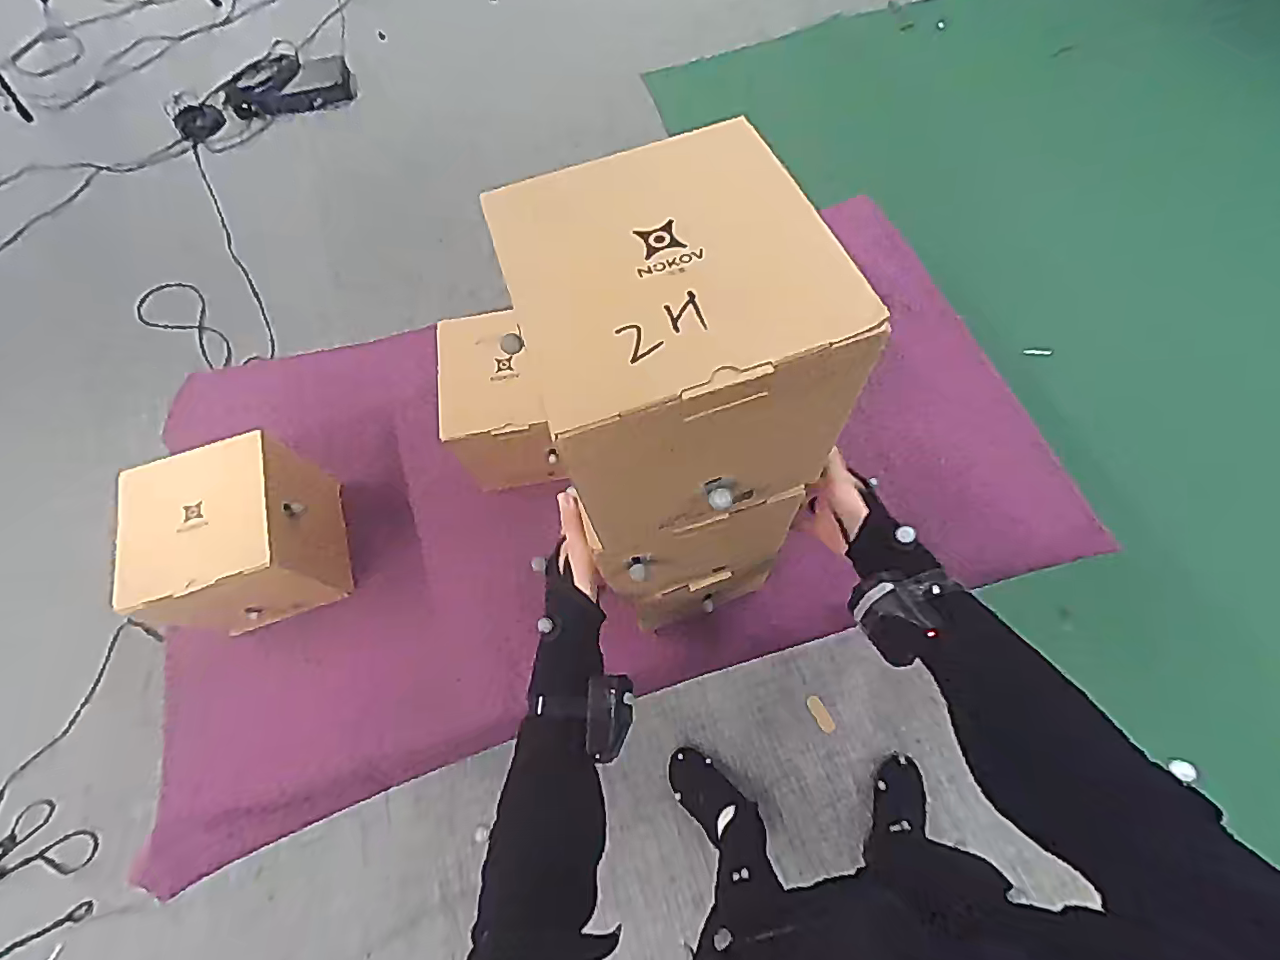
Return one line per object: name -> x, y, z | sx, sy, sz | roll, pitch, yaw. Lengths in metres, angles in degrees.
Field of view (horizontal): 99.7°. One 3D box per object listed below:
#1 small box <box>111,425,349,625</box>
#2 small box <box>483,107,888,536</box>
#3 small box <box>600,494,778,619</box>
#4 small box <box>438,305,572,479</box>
small box -> -0.493, 0.064, 0.673 | 0.168, 0.176, 0.179 | -18, 68, -5
small box -> 0.017, -0.088, 0.348 | 0.168, 0.176, 0.179 | -18, 65, -3
small box -> 0.042, 0.054, 0.645 | 0.168, 0.176, 0.179 | -20, 66, -6
small box -> -0.160, -0.111, 0.729 | 0.168, 0.176, 0.179 | -9, 67, -1
